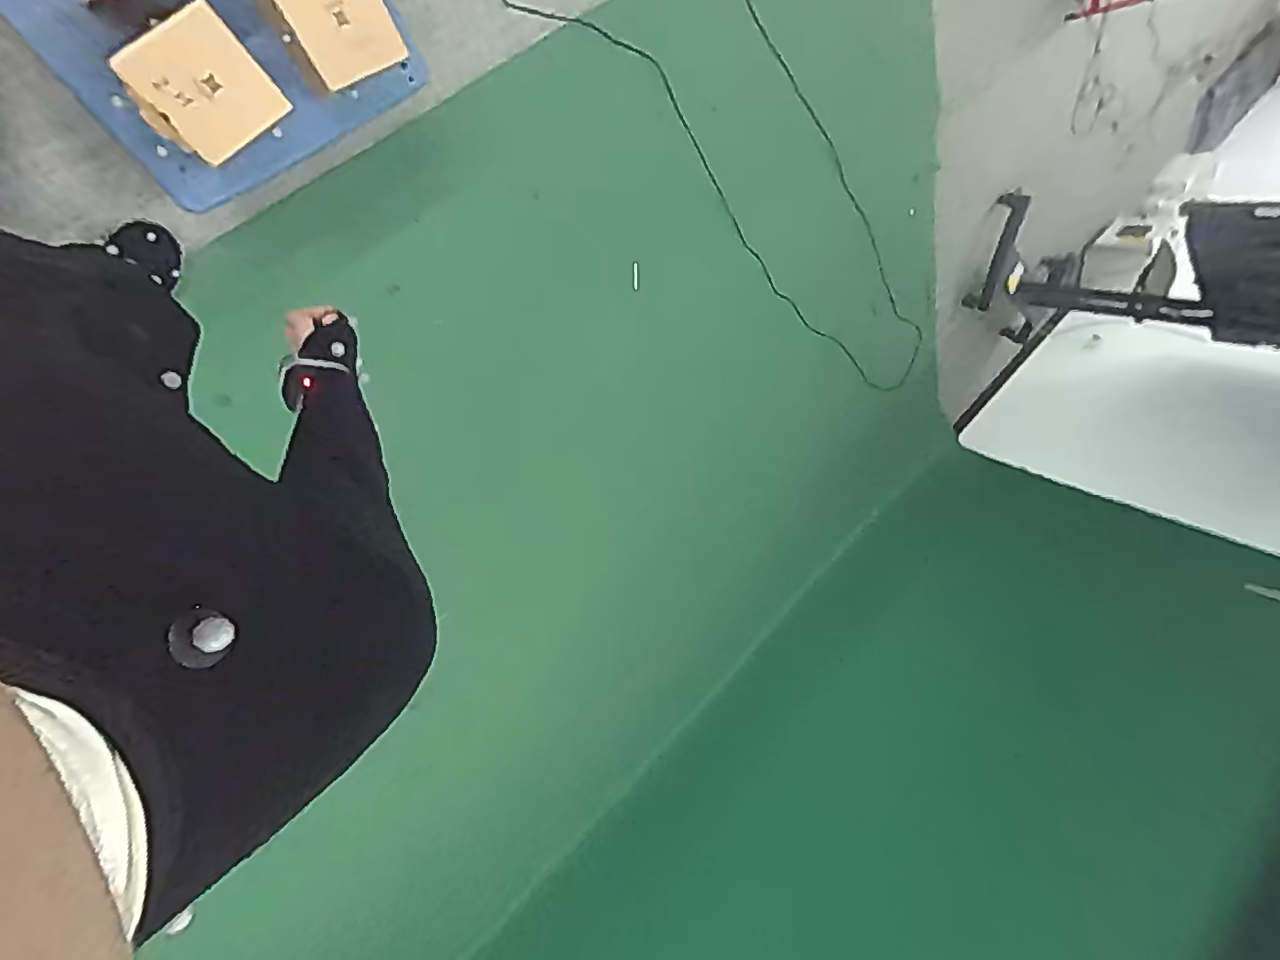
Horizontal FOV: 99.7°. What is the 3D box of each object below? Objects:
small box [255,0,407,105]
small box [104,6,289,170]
[{"bbox_3d":[-0.570,-0.826,0.992,0.168,0.176,0.179,-39,131,-16],"label":"small box"},{"bbox_3d":[-0.748,-0.660,0.928,0.179,0.176,0.168,-41,129,-14],"label":"small box"}]
